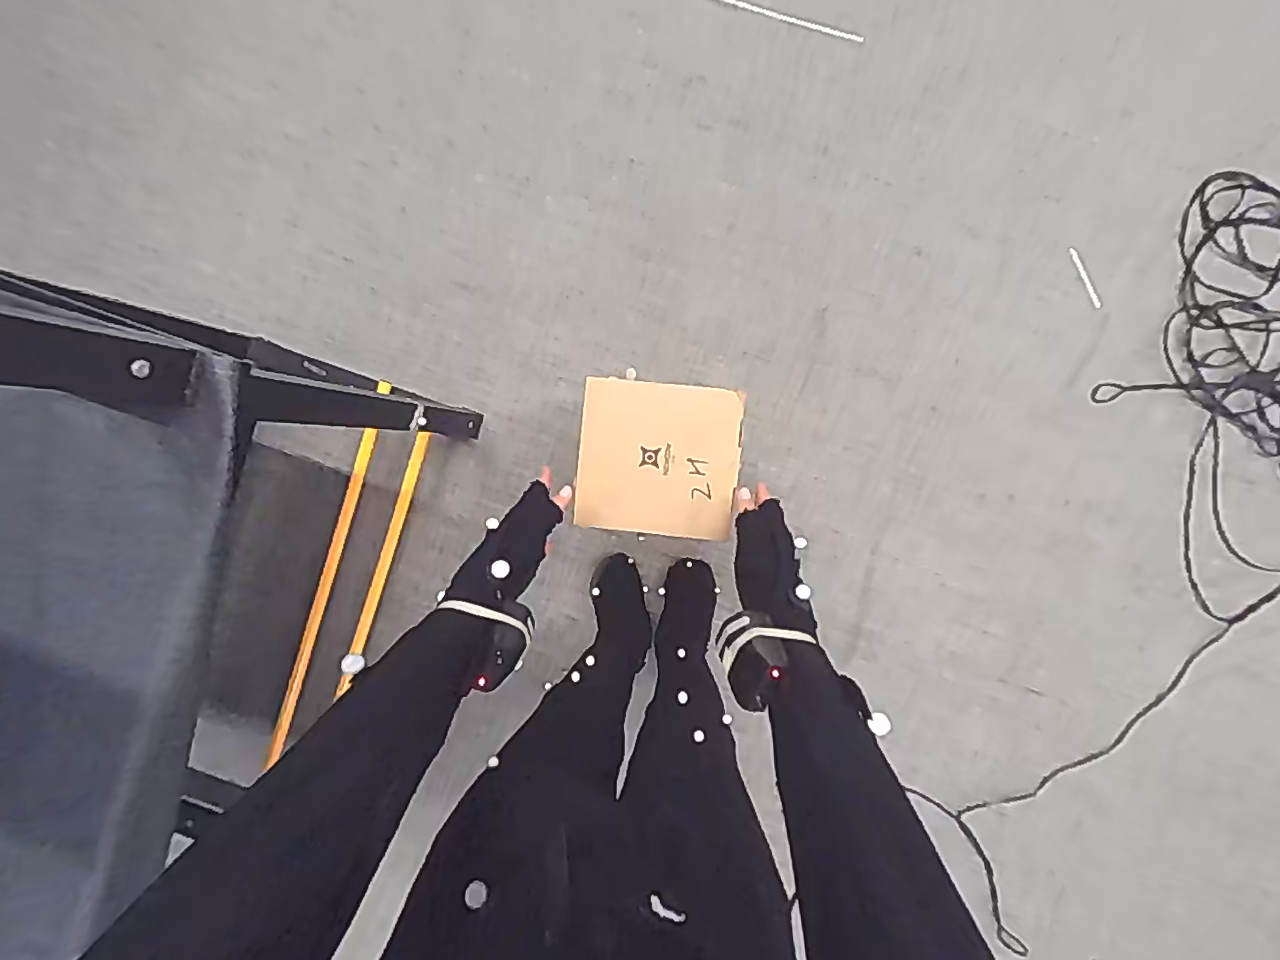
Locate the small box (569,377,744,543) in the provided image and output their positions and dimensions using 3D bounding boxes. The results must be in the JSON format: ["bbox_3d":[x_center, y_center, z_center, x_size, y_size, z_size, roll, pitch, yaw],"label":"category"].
[{"bbox_3d":[0.022,-0.026,0.662,0.179,0.176,0.168,6,95,4],"label":"small box"}]
